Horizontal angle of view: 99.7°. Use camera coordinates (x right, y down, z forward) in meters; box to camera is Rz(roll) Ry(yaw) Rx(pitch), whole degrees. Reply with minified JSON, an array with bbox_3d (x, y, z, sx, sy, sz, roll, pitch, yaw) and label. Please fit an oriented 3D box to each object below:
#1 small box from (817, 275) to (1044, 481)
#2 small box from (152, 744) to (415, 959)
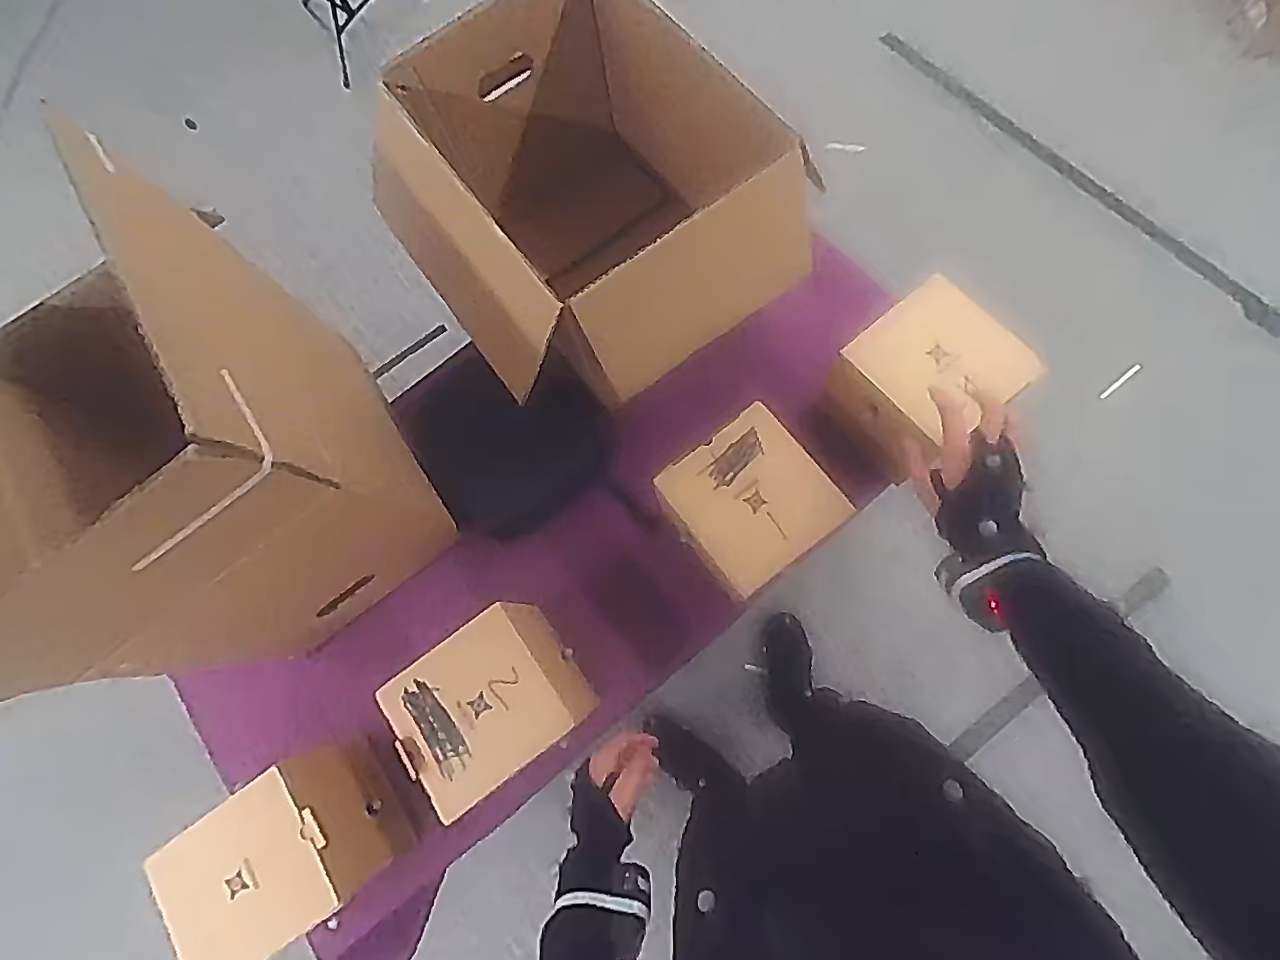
[{"bbox_3d":[0.363,-0.123,0.719,0.168,0.176,0.179,-39,75,-3],"label":"small box"},{"bbox_3d":[-0.417,0.457,0.658,0.179,0.176,0.168,-36,75,-5],"label":"small box"}]
